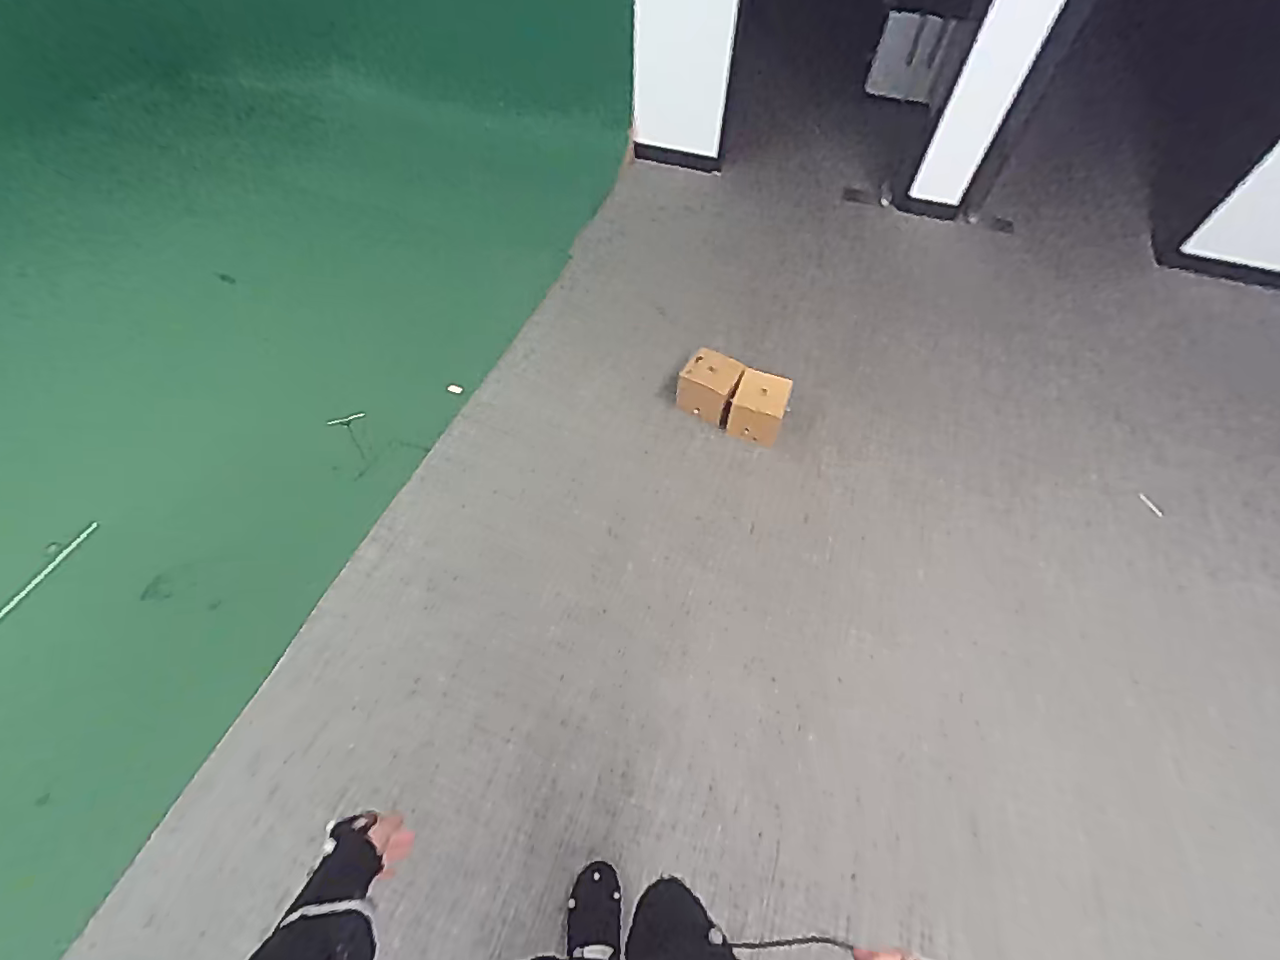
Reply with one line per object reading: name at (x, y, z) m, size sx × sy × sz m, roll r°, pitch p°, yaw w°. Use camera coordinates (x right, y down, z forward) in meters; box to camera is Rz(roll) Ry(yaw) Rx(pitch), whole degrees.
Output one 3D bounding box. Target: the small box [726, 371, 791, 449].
small box at (0.400, -0.237, 1.849) m, size 0.168 × 0.176 × 0.179 m, roll 18°, pitch 59°, yaw 10°
